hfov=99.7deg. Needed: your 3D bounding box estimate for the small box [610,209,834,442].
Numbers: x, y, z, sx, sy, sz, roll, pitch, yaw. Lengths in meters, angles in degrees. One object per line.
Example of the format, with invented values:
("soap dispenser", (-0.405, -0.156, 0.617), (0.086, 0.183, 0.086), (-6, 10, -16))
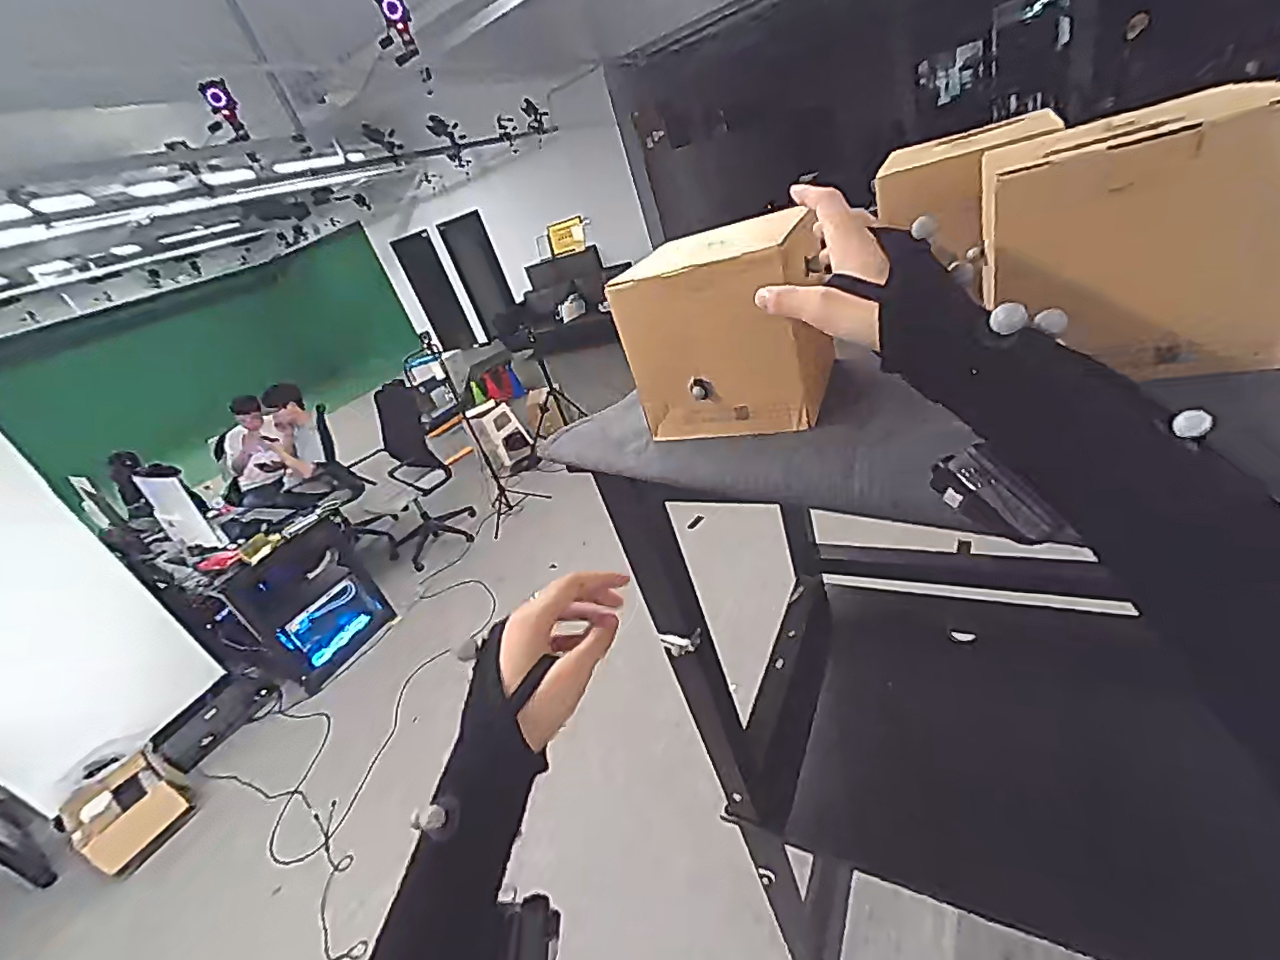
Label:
("small box", (0.097, -0.154, 0.554), (0.168, 0.176, 0.179), (-2, 33, 29))
